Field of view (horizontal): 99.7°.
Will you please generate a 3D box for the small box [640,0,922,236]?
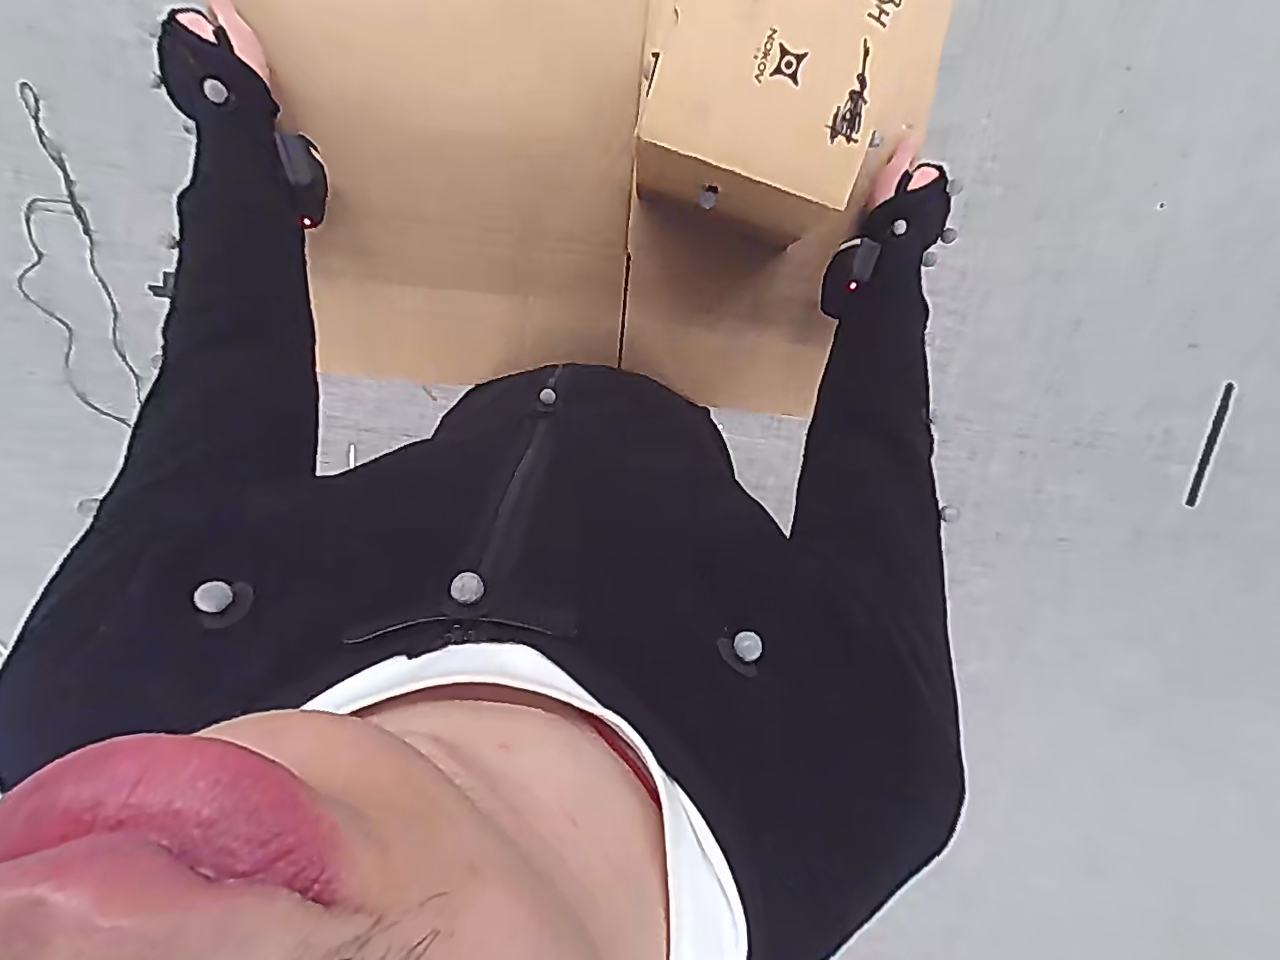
[{"bbox_3d":[0.107,-0.339,0.486,0.179,0.176,0.168,18,104,-4],"label":"small box"}]
